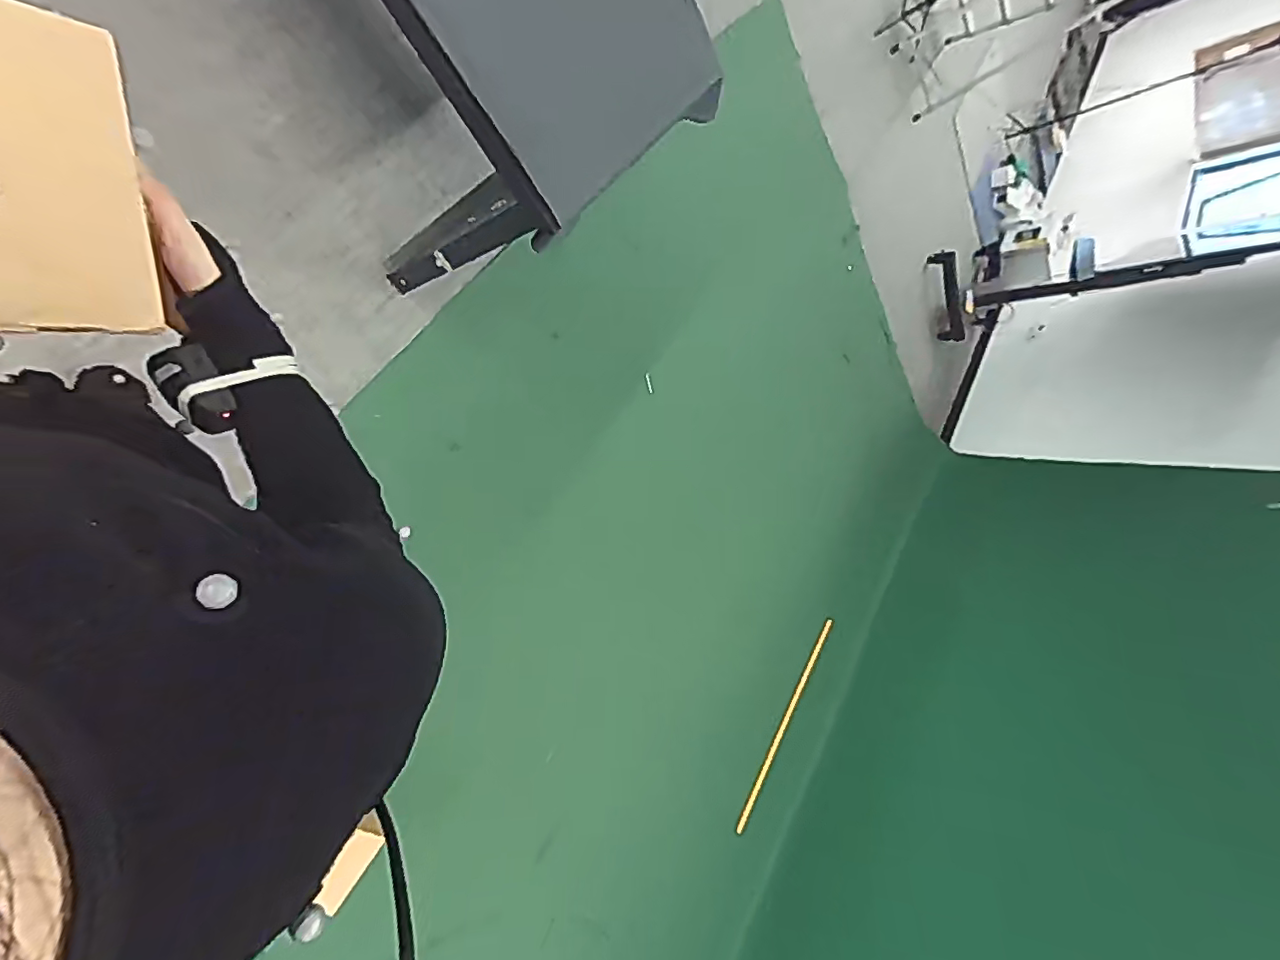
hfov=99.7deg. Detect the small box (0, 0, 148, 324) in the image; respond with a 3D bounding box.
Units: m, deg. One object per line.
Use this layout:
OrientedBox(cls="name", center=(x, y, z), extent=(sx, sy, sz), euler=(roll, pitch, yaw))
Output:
OrientedBox(cls="small box", center=(-0.429, -0.188, 0.320), extent=(0.168, 0.176, 0.179), euler=(-14, 112, -48))
